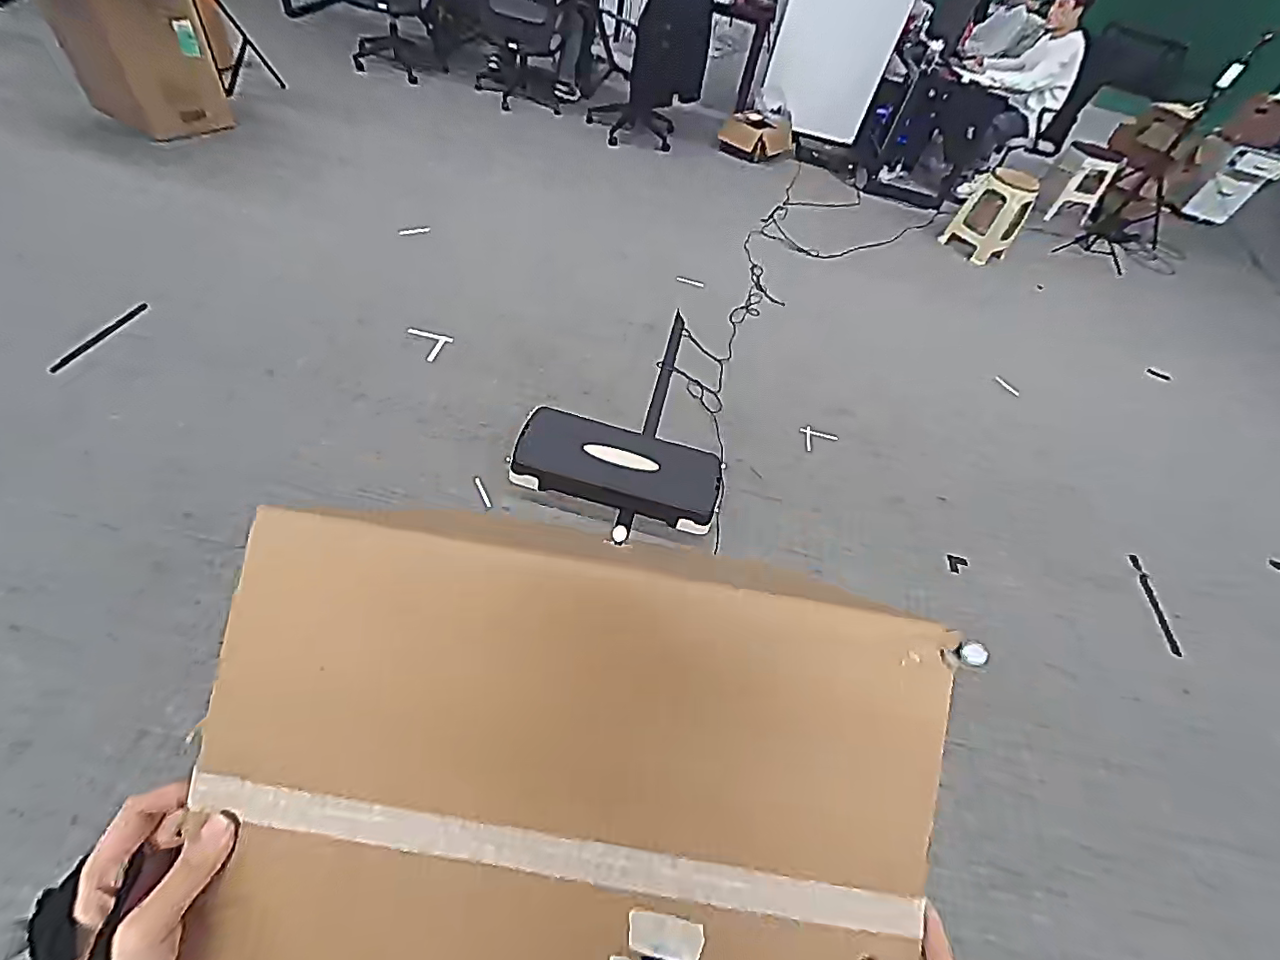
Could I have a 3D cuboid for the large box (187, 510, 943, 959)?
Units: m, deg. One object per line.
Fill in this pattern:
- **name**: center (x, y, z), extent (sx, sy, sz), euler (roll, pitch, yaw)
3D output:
- **large box**: center (-0.042, 0.208, 0.456), extent (0.408, 0.320, 0.320), euler (10, 87, 0)
